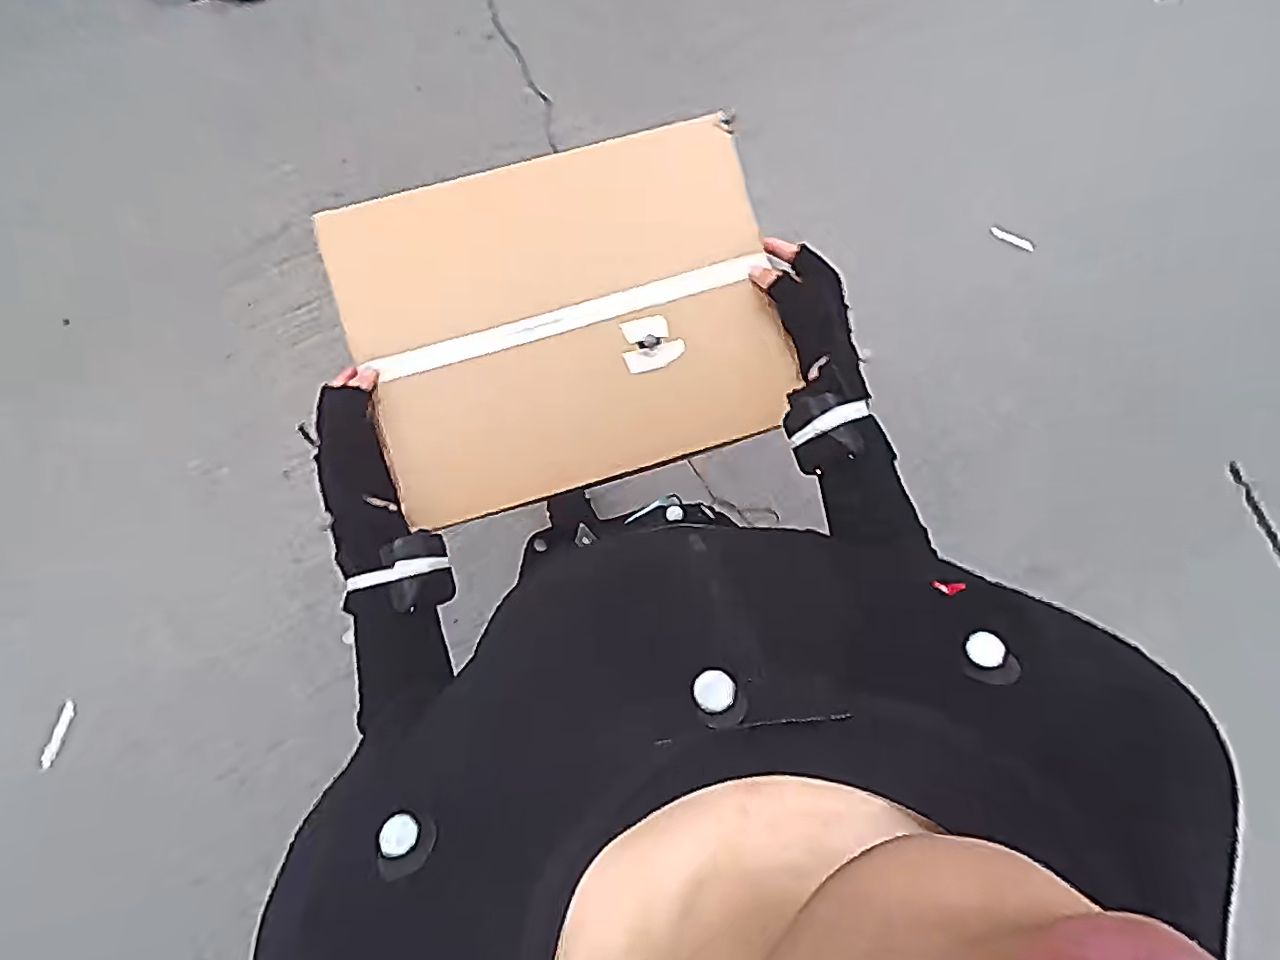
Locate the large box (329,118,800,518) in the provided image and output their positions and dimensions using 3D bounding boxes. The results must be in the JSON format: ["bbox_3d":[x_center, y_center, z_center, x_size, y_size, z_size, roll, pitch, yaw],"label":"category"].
[{"bbox_3d":[-0.081,-0.162,0.679,0.408,0.320,0.320,-16,92,-5],"label":"large box"}]
